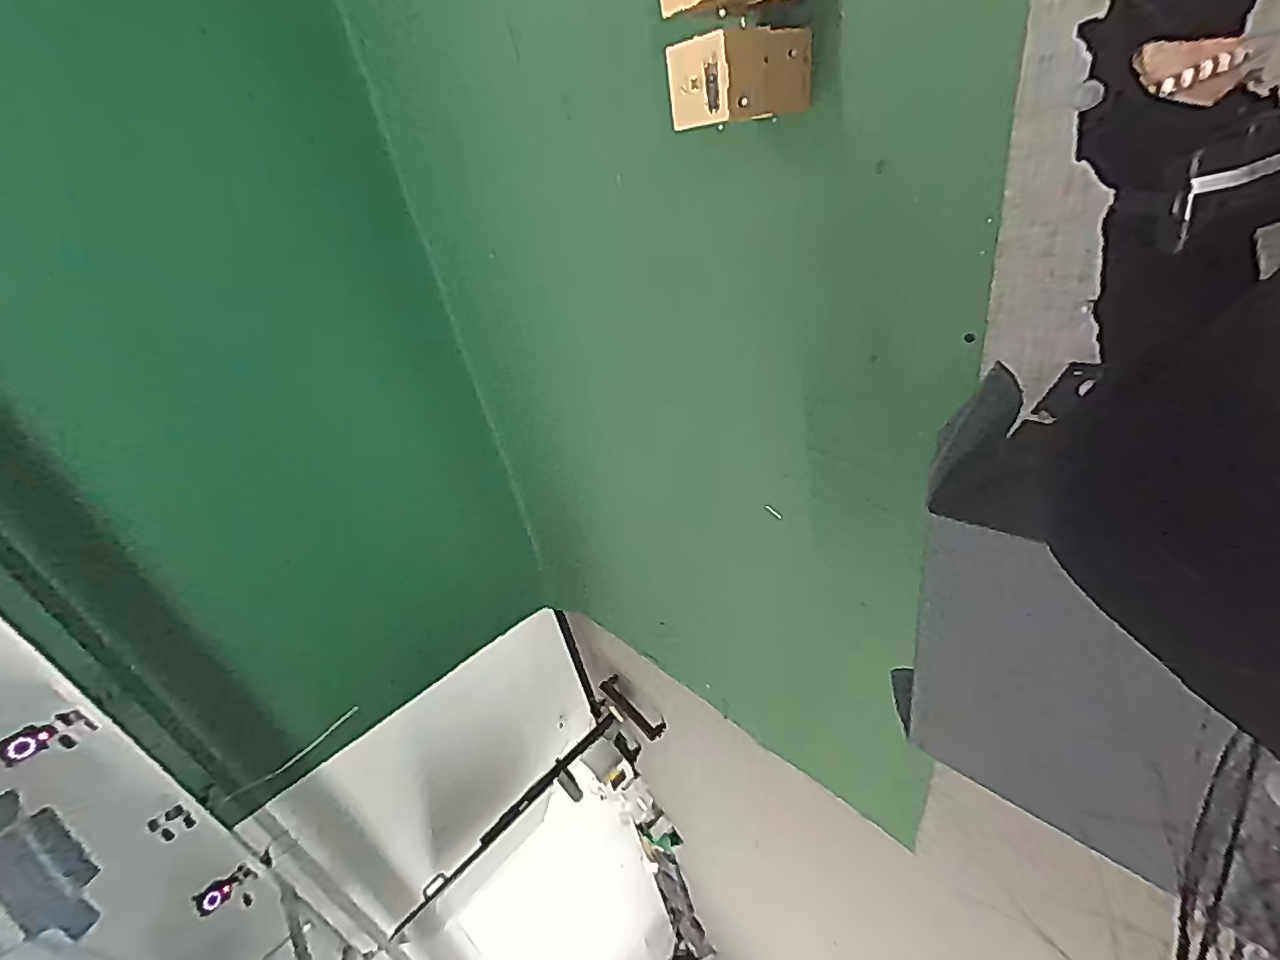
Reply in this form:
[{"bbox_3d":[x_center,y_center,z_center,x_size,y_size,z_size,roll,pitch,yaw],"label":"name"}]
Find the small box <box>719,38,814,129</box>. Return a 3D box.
[{"bbox_3d":[0.324,-1.006,1.375,0.179,0.176,0.168,25,135,41],"label":"small box"}]
